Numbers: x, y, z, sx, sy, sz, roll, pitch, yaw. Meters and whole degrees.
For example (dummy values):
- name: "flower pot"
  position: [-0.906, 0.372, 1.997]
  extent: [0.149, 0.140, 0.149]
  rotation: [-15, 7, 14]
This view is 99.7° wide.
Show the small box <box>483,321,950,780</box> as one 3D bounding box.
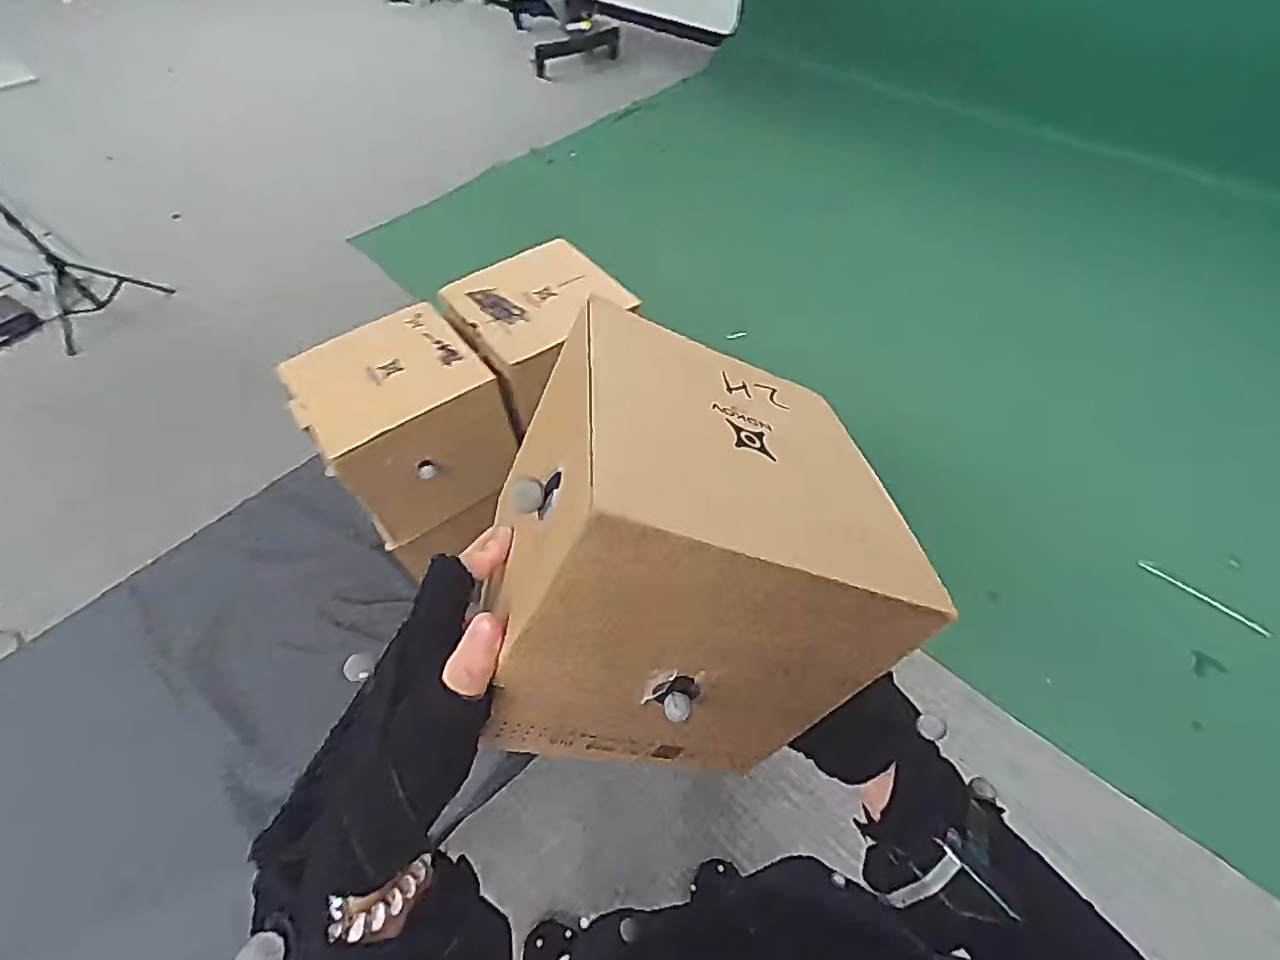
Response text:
- name: "small box"
  position: [0.019, 0.044, 0.310]
  extent: [0.168, 0.176, 0.179]
  rotation: [18, 35, -18]
